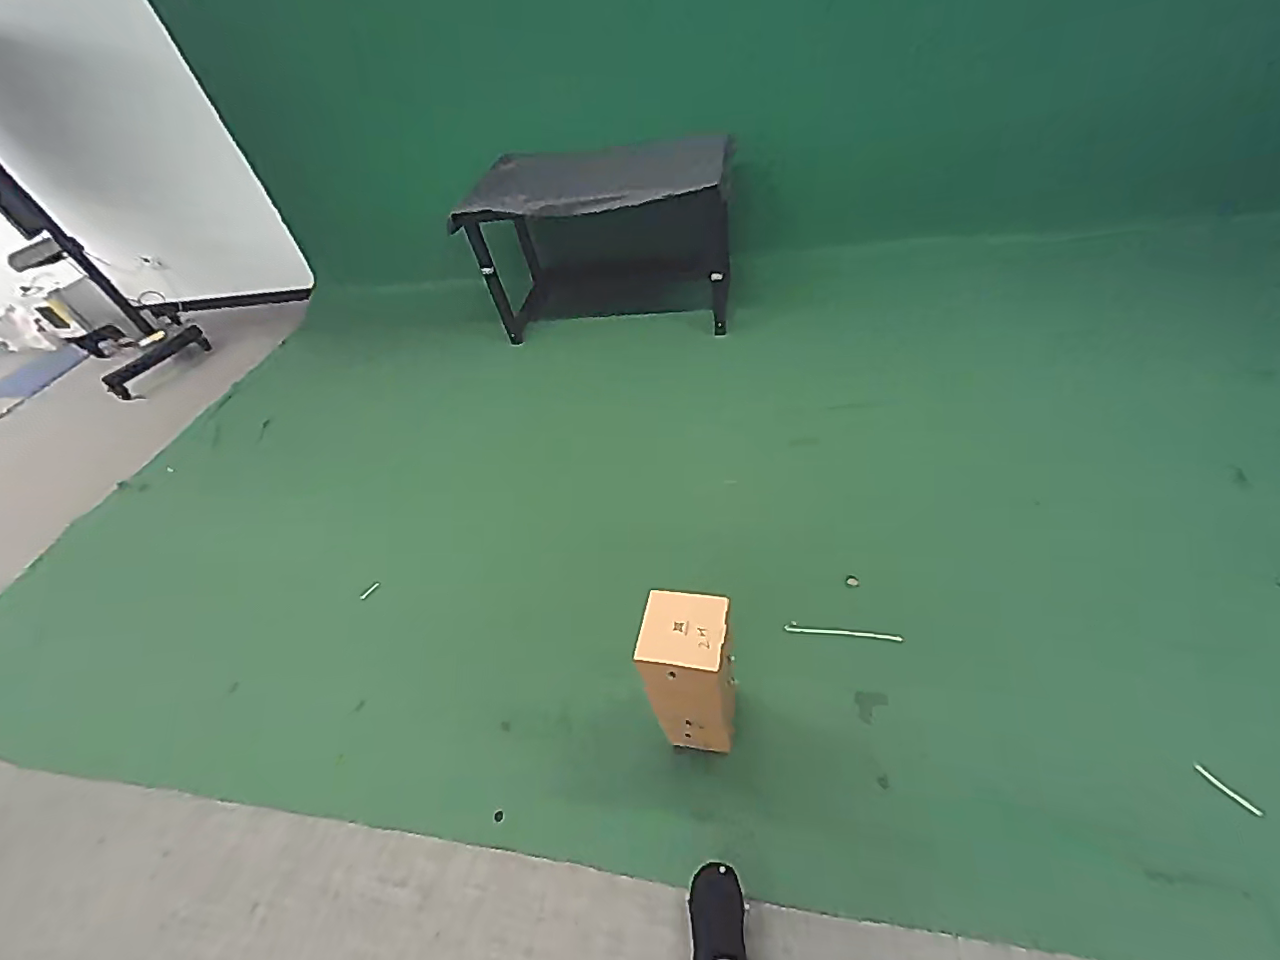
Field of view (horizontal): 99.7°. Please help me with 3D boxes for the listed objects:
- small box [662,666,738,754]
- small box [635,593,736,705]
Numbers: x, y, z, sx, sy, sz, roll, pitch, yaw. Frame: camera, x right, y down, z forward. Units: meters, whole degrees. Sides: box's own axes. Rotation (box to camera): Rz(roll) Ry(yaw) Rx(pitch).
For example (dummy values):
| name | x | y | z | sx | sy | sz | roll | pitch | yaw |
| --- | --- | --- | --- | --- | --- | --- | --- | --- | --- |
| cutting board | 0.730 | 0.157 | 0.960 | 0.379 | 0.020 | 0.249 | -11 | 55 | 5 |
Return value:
| name | x | y | z | sx | sy | sz | roll | pitch | yaw |
| --- | --- | --- | --- | --- | --- | --- | --- | --- | --- |
| small box | 0.163 | 0.586 | 1.398 | 0.168 | 0.176 | 0.179 | 1 | 46 | 15 |
| small box | 0.106 | 0.364 | 1.162 | 0.179 | 0.176 | 0.168 | 3 | 48 | 17 |
